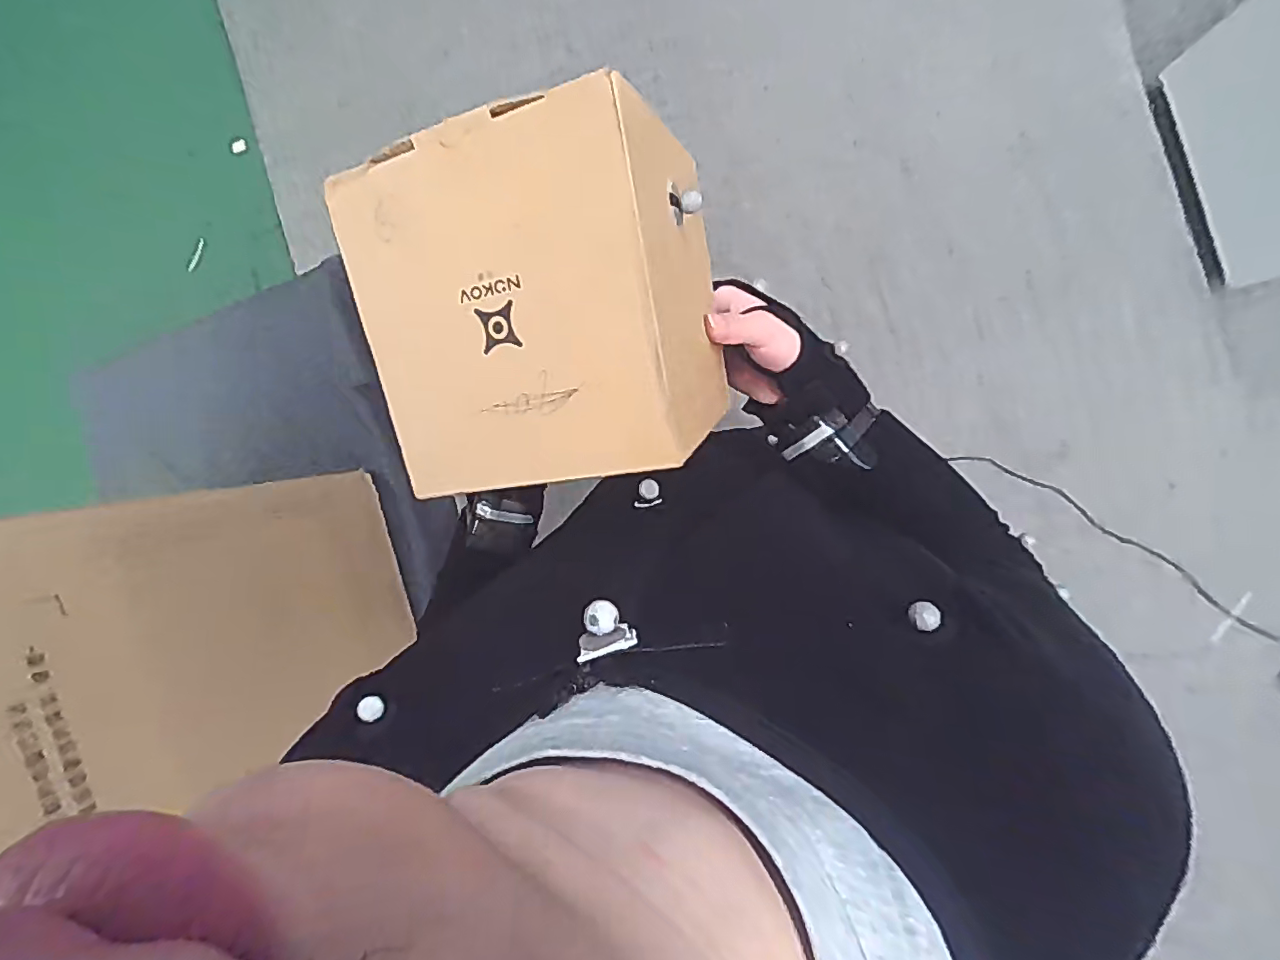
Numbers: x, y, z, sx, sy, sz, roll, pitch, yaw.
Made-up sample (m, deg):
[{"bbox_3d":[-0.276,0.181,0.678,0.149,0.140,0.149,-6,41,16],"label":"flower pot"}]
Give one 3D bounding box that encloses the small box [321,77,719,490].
[{"bbox_3d":[-0.052,-0.104,0.346,0.168,0.176,0.179,-5,105,21],"label":"small box"}]
